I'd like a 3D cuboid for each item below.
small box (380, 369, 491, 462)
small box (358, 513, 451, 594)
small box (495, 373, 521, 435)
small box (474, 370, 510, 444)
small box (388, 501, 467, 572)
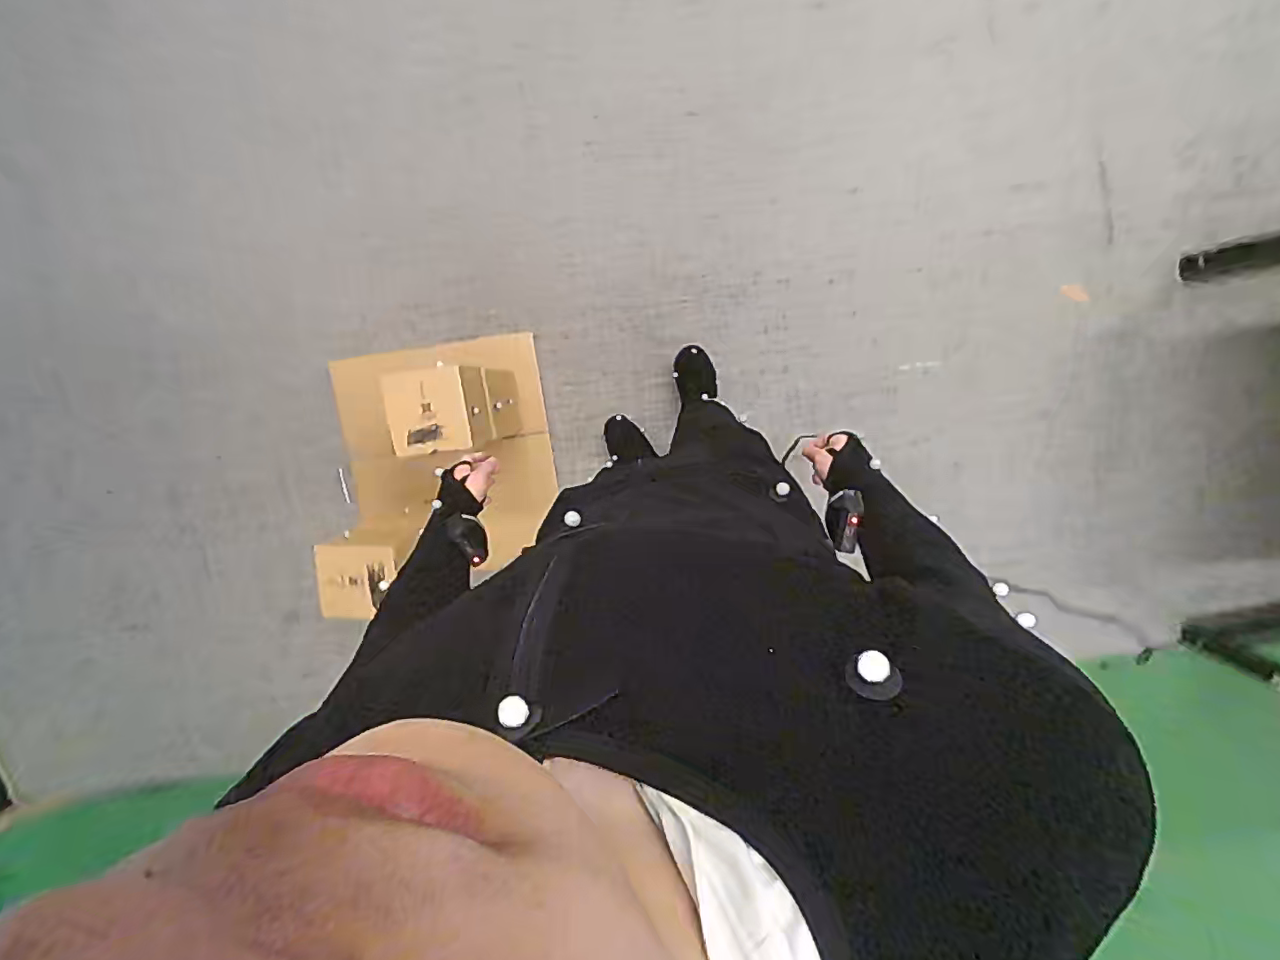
[{"bbox_3d":[-0.437,-0.147,1.187,0.168,0.176,0.179,-8,100,0],"label":"small box"},{"bbox_3d":[-0.605,0.184,1.407,0.168,0.176,0.179,0,100,1],"label":"small box"},{"bbox_3d":[-0.440,-0.203,1.508,0.168,0.176,0.179,-7,100,1],"label":"small box"},{"bbox_3d":[-0.433,-0.176,1.349,0.168,0.176,0.179,-8,101,1],"label":"small box"},{"bbox_3d":[-0.610,0.159,1.571,0.168,0.176,0.179,0,100,1],"label":"small box"}]
